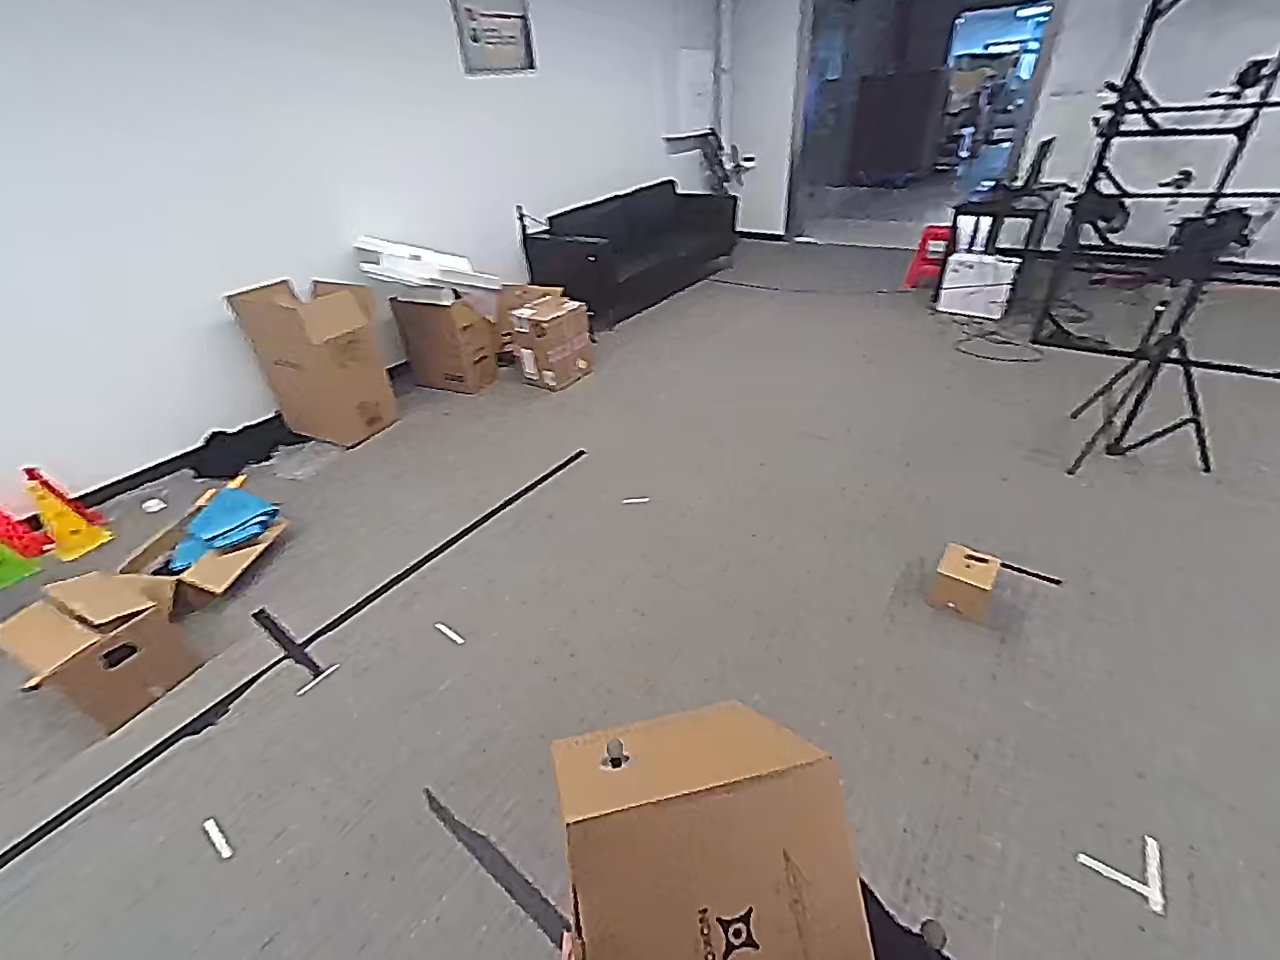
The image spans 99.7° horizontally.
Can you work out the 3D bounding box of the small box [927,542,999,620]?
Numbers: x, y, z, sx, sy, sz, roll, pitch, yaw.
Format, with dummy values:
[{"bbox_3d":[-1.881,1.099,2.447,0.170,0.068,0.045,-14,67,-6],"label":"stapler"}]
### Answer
[{"bbox_3d":[1.142,0.359,1.921,0.168,0.176,0.179,21,44,33],"label":"small box"}]
